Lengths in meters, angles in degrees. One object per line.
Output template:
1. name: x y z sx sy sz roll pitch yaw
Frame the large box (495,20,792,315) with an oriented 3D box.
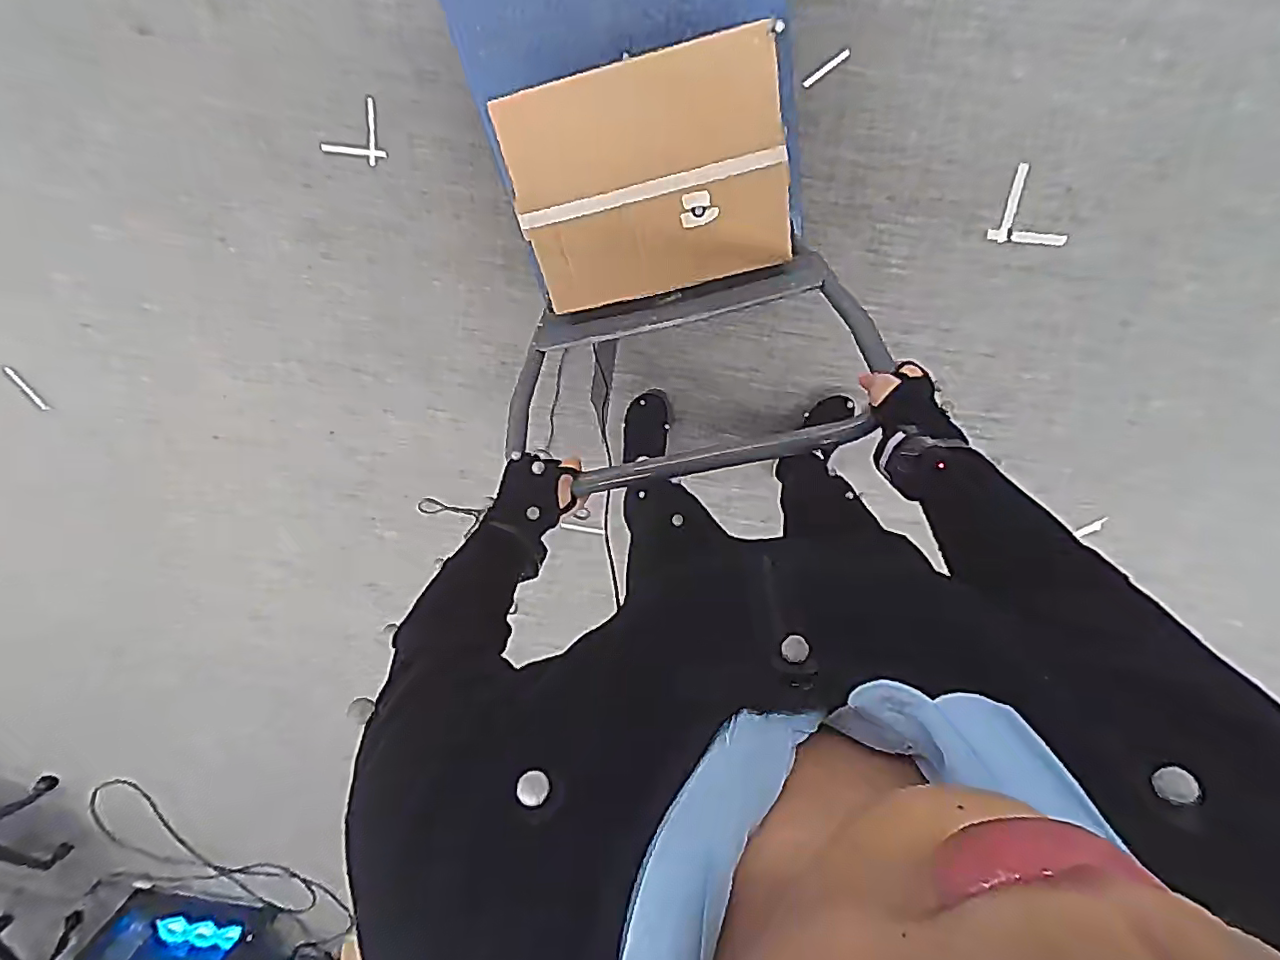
1. large box: 0.018 -0.530 0.946 0.408 0.320 0.320 -11 125 8
